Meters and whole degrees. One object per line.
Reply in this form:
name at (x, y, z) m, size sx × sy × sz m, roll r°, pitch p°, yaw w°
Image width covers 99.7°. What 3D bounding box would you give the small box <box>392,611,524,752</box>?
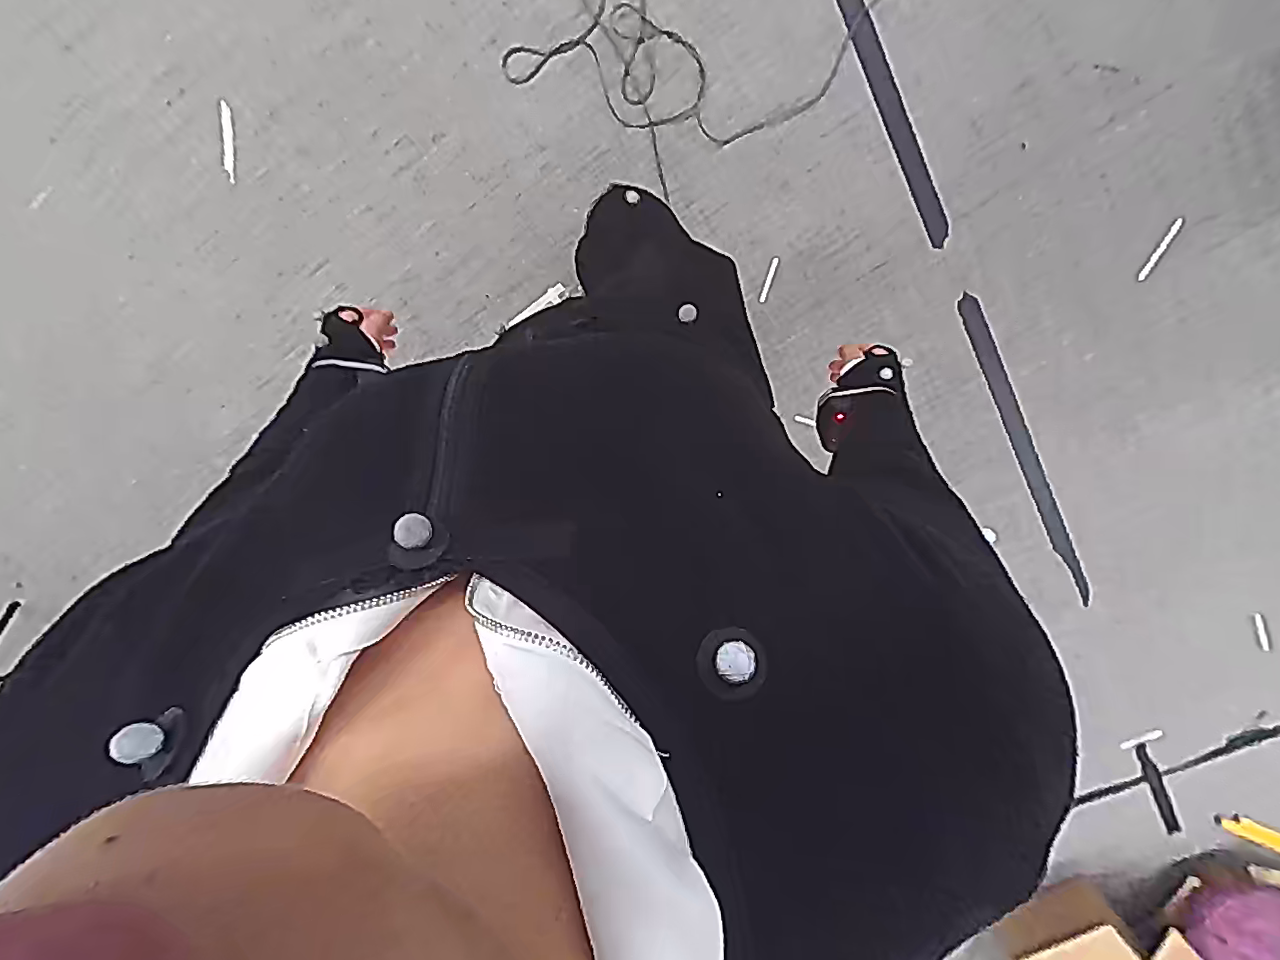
small box at (-0.363, 0.411, 1.118) m, size 0.179 × 0.176 × 0.168 m, roll -36°, pitch 108°, yaw 11°
